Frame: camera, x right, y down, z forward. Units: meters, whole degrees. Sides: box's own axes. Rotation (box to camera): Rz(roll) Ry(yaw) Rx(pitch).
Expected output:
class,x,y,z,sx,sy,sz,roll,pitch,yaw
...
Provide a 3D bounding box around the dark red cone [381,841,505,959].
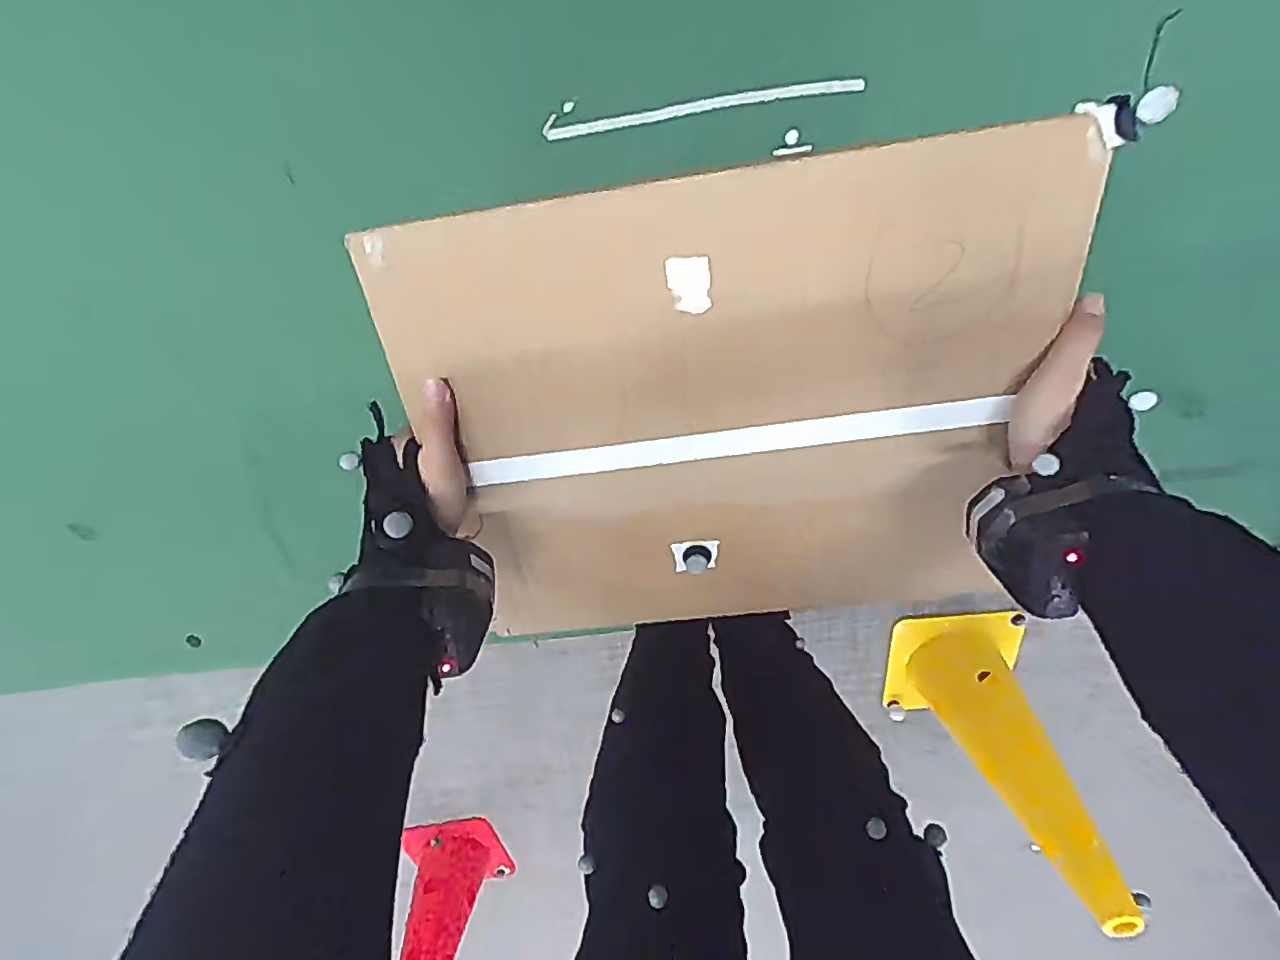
class,x,y,z,sx,sy,sz,roll,pitch,yaw
dark red cone,-0.390,0.848,0.919,0.202,0.394,0.201,-14,112,8
